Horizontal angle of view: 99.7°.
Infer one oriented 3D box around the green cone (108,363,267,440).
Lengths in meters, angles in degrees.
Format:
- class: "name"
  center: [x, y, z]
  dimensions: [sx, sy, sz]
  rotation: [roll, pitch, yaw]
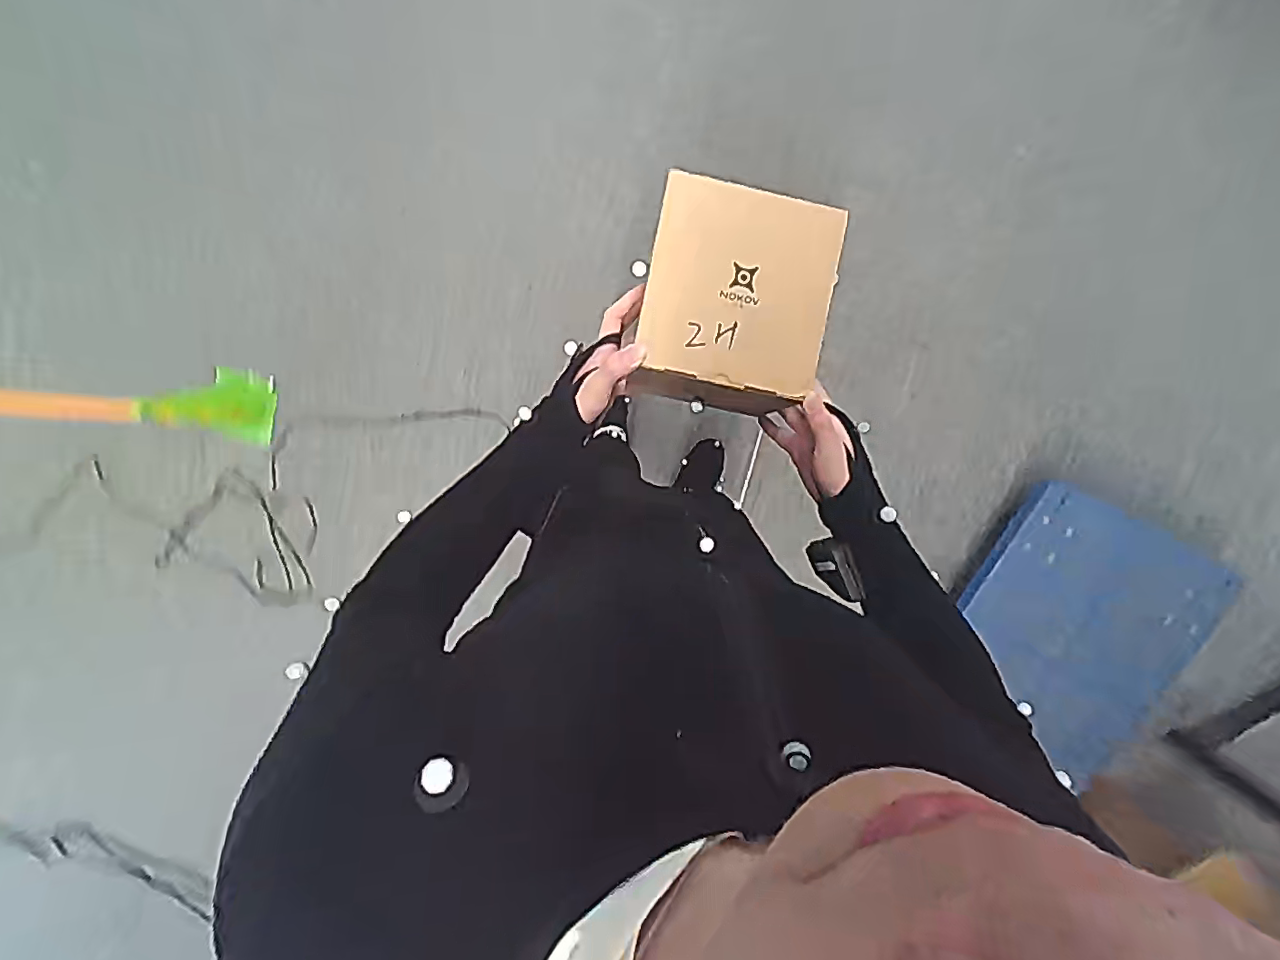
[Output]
- class: "green cone"
  center: [-1.249, -0.207, 1.473]
  dimensions: [0.200, 0.368, 0.202]
  rotation: [16, 101, 2]
